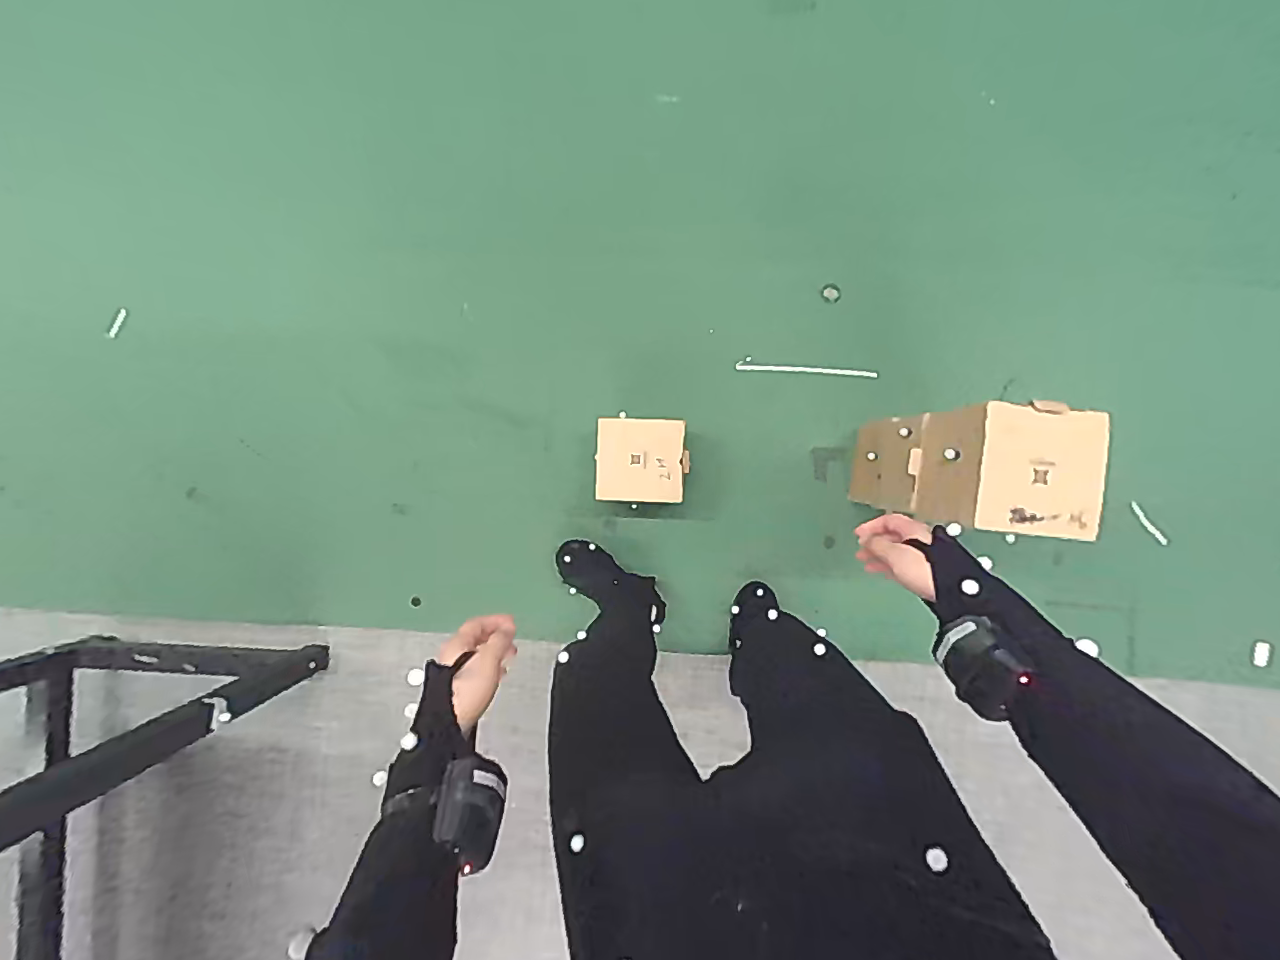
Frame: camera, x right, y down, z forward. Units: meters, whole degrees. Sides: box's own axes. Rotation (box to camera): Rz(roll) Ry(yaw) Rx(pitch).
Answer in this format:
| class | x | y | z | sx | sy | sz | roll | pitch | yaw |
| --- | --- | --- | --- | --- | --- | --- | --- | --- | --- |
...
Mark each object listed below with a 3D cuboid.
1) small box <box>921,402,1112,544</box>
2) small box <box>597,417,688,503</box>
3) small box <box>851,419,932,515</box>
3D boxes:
| class | x | y | z | sx | sy | sz | roll | pitch | yaw |
| --- | --- | --- | --- | --- | --- | --- | --- | --- | --- |
| small box | 0.545 | -0.008 | 0.805 | 0.168 | 0.176 | 0.179 | 7 | 90 | 0 |
| small box | 0.008 | -0.040 | 1.147 | 0.179 | 0.176 | 0.168 | 2 | 91 | 2 |
| small box | 0.561 | -0.021 | 1.134 | 0.168 | 0.176 | 0.179 | 11 | 91 | 1 |
